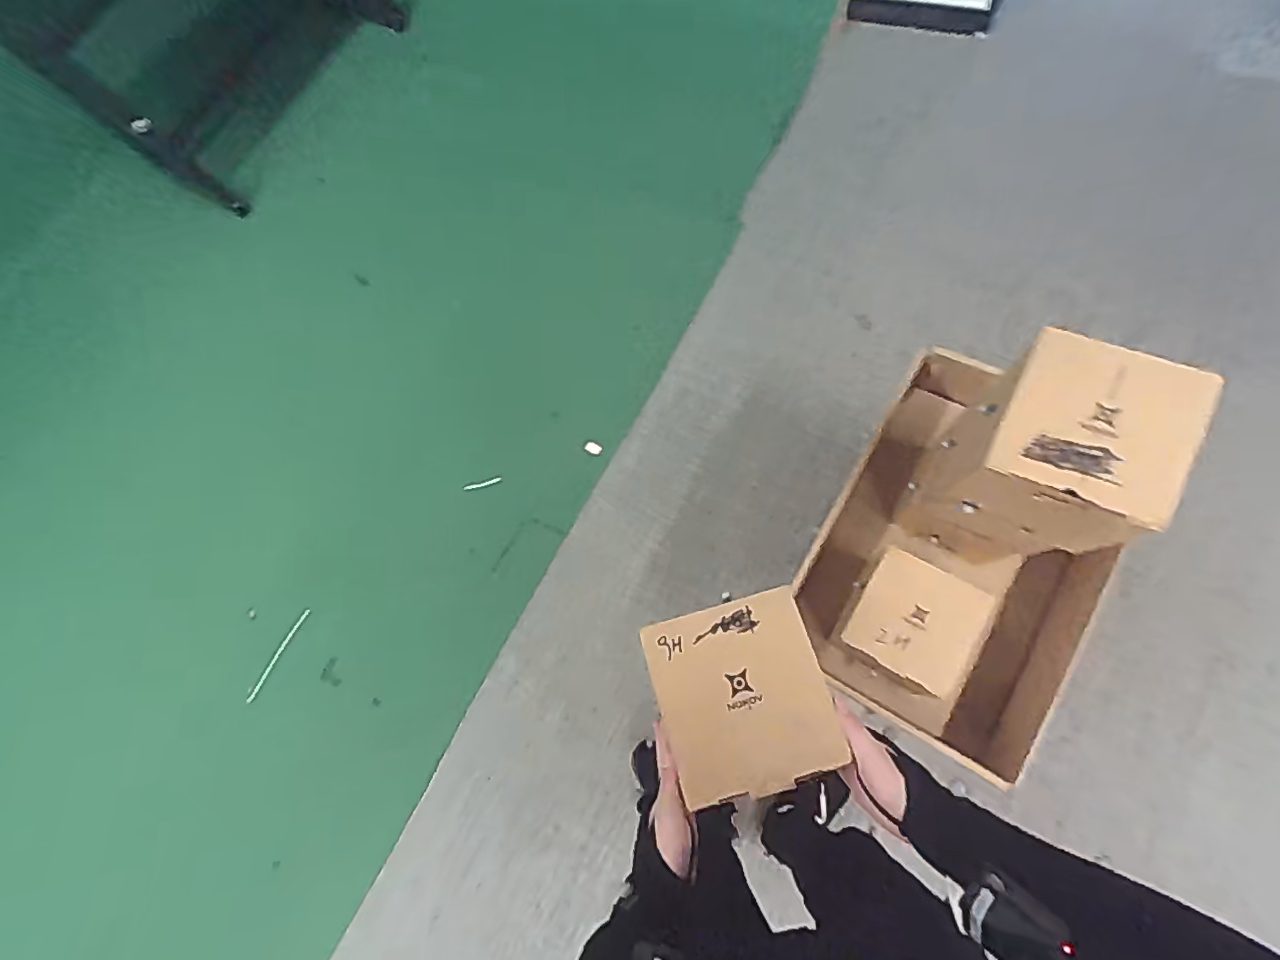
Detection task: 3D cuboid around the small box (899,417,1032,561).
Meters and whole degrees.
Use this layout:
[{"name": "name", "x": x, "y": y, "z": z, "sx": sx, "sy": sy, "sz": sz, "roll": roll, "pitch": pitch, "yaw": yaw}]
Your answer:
[{"name": "small box", "x": 0.573, "y": 0.023, "z": 0.935, "sx": 0.168, "sy": 0.176, "sz": 0.179, "roll": 27, "pitch": 84, "yaw": 19}]

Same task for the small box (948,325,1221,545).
[{"name": "small box", "x": 0.484, "y": -0.041, "z": 0.624, "sx": 0.168, "sy": 0.176, "sz": 0.179, "roll": 25, "pitch": 82, "yaw": 19}]

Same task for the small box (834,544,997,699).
[{"name": "small box", "x": 0.439, "y": 0.233, "z": 0.893, "sx": 0.168, "sy": 0.176, "sz": 0.179, "roll": 29, "pitch": 80, "yaw": 20}]

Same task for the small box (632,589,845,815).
[{"name": "small box", "x": 0.100, "y": 0.235, "z": 0.605, "sx": 0.168, "sy": 0.176, "sz": 0.179, "roll": -18, "pitch": 72, "yaw": -1}]
